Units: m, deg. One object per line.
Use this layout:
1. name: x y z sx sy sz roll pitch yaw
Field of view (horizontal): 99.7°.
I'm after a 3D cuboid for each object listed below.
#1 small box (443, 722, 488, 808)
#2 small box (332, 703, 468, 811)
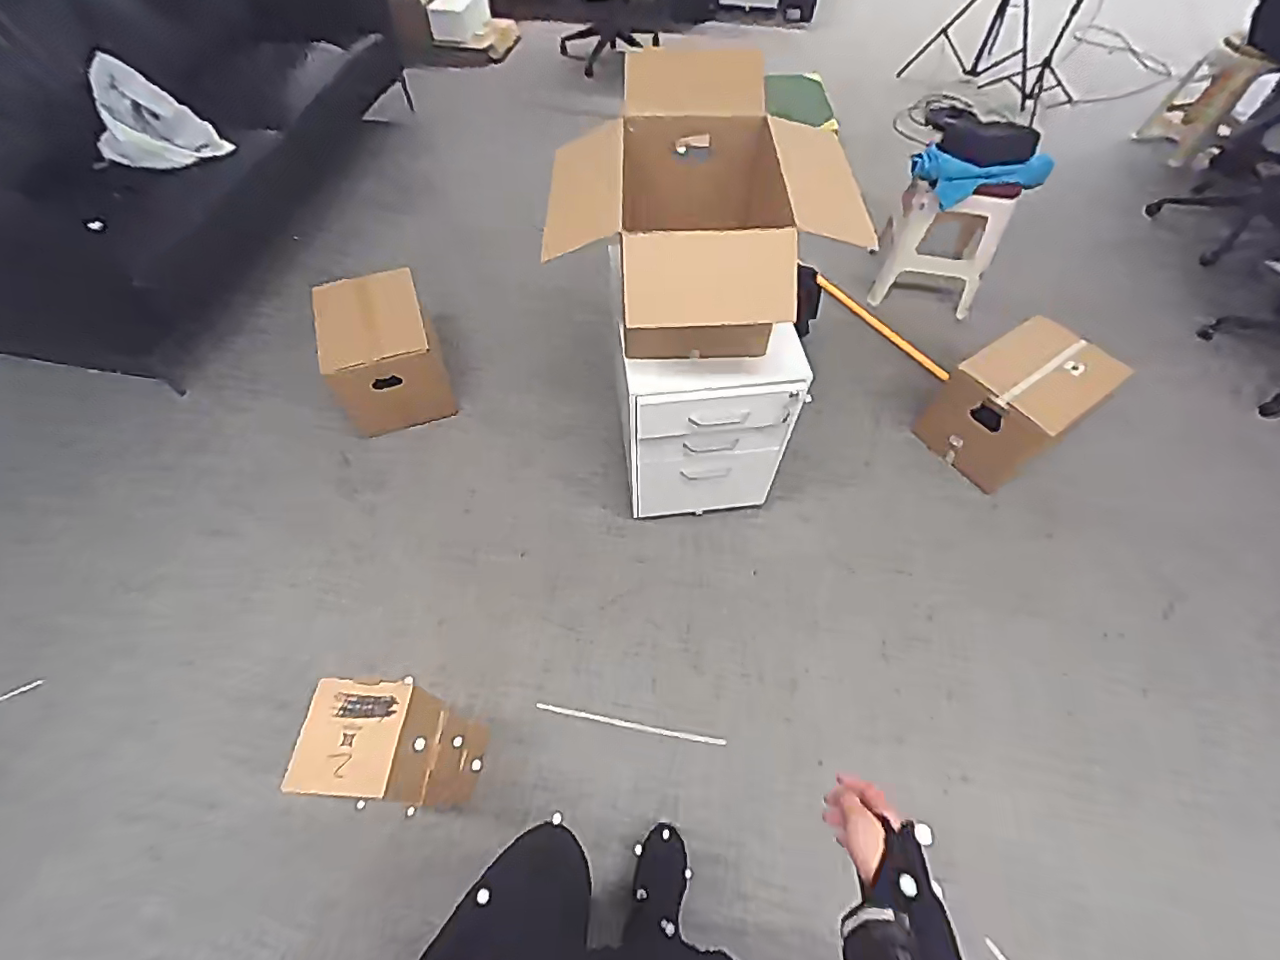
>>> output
1. small box: -0.467 0.643 1.238 0.179 0.176 0.168 8 58 5
2. small box: -0.469 0.564 1.094 0.179 0.176 0.168 4 56 5
